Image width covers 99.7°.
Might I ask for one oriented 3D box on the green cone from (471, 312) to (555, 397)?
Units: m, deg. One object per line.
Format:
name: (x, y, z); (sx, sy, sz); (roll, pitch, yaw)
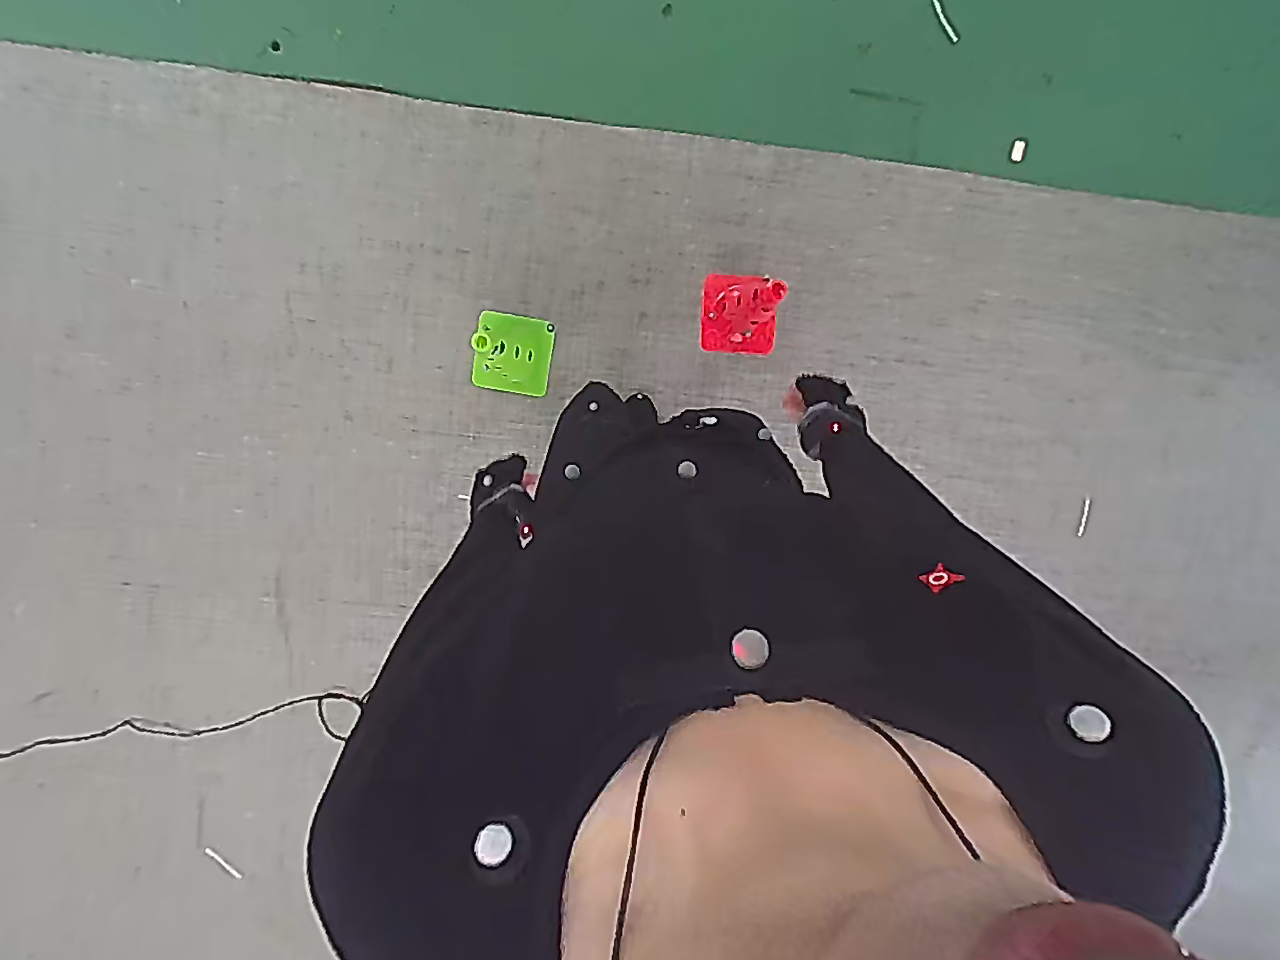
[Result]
green cone: (-0.328, -0.301, 1.258); (0.200, 0.368, 0.202); (8, 99, -3)
